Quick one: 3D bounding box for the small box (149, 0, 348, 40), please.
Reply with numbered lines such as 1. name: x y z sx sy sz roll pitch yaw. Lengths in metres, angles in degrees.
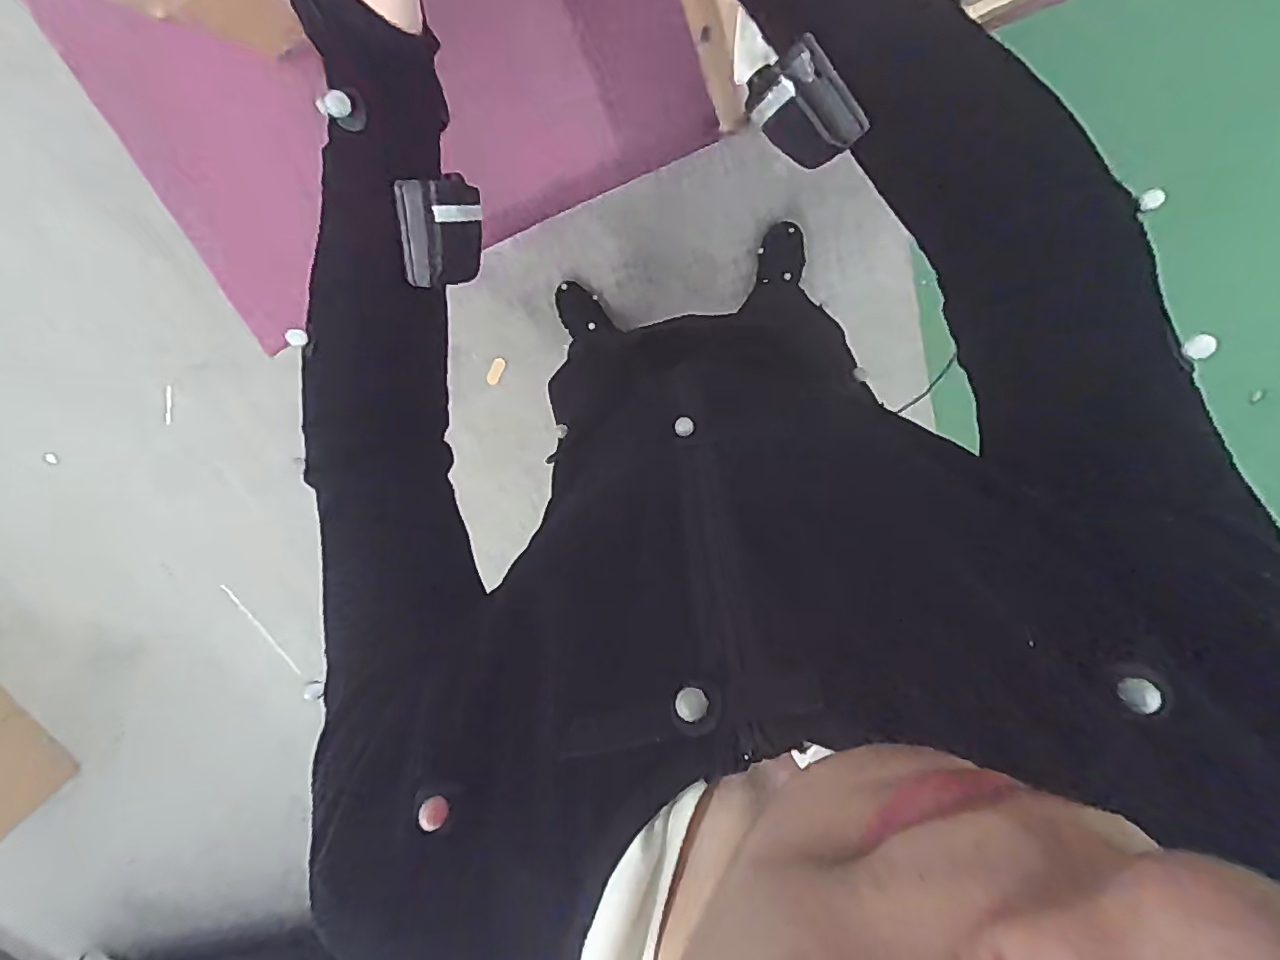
1. small box: -0.435 -0.599 0.561 0.168 0.176 0.179 -19 113 11
